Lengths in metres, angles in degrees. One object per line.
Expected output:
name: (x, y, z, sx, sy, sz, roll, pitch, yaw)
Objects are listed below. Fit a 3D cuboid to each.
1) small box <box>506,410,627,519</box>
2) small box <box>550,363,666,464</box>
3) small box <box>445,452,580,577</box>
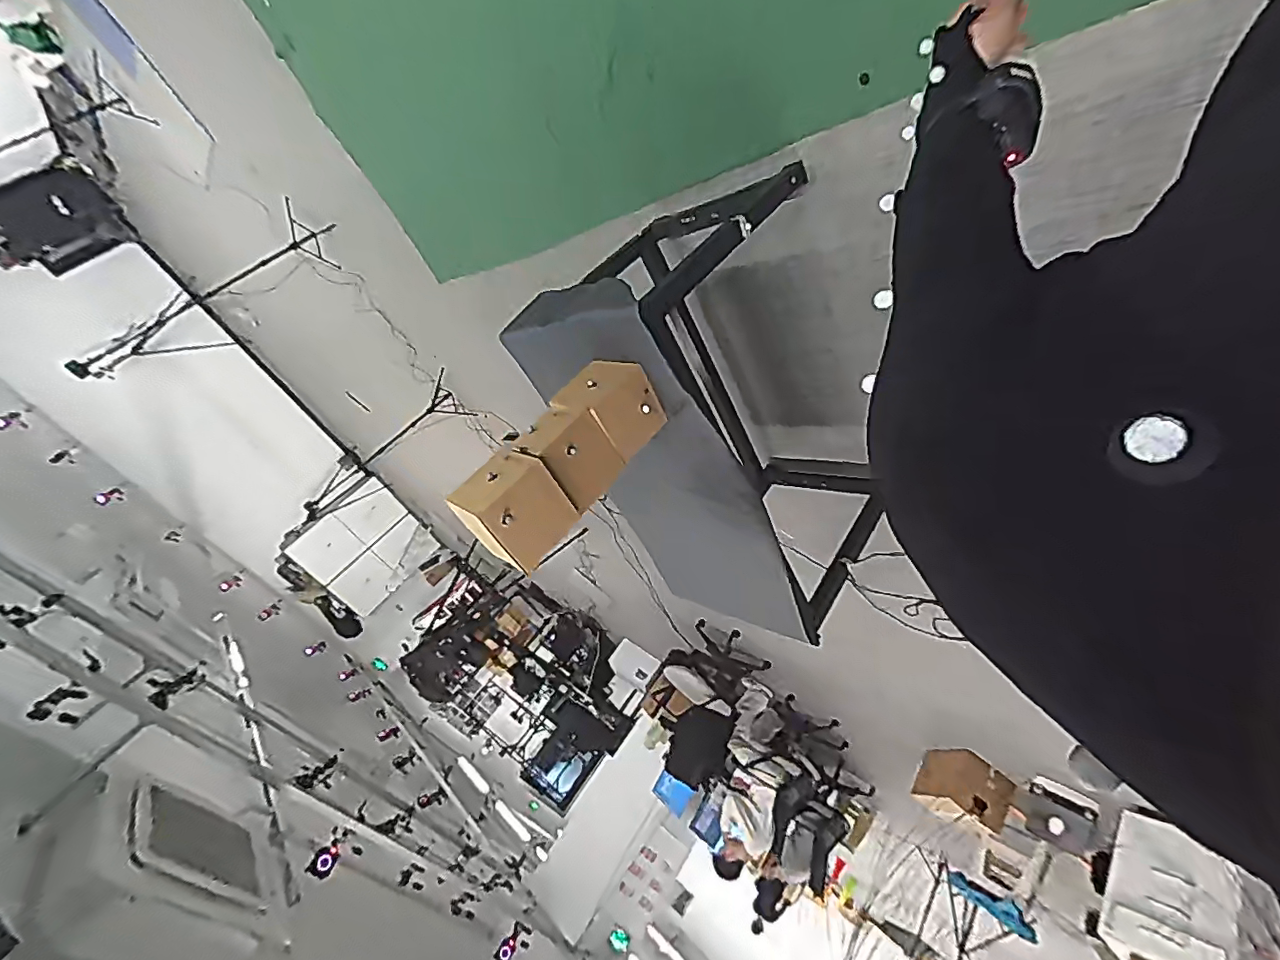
small box: (-0.165, -0.042, 1.211, 0.168, 0.176, 0.179, 11, 143, 52)
small box: (-0.071, -0.159, 1.271, 0.179, 0.176, 0.168, 15, 145, 44)
small box: (-0.259, 0.064, 1.122, 0.168, 0.176, 0.179, 16, 145, 48)
